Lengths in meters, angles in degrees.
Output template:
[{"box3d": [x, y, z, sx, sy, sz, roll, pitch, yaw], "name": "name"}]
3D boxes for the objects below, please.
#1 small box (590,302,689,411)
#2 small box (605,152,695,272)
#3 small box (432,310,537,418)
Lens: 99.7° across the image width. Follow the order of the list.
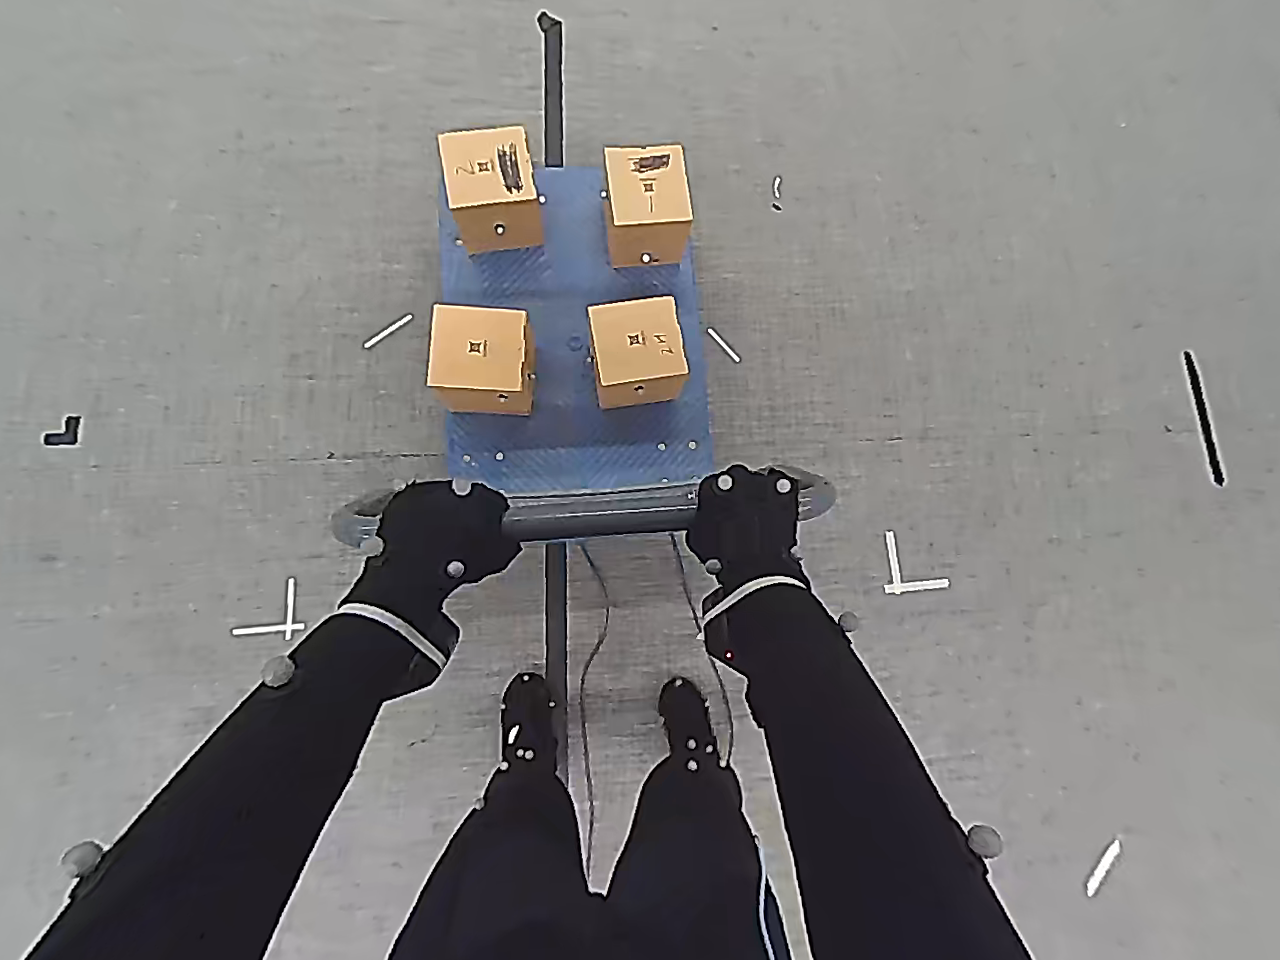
[{"box3d": [-0.006, -0.252, 1.141, 0.179, 0.176, 0.168, -9, 82, -6], "name": "small box"}, {"box3d": [0.015, -0.585, 1.194, 0.168, 0.176, 0.179, -7, 83, -6], "name": "small box"}, {"box3d": [-0.310, -0.229, 1.110, 0.179, 0.176, 0.168, 2, 81, -7], "name": "small box"}]
